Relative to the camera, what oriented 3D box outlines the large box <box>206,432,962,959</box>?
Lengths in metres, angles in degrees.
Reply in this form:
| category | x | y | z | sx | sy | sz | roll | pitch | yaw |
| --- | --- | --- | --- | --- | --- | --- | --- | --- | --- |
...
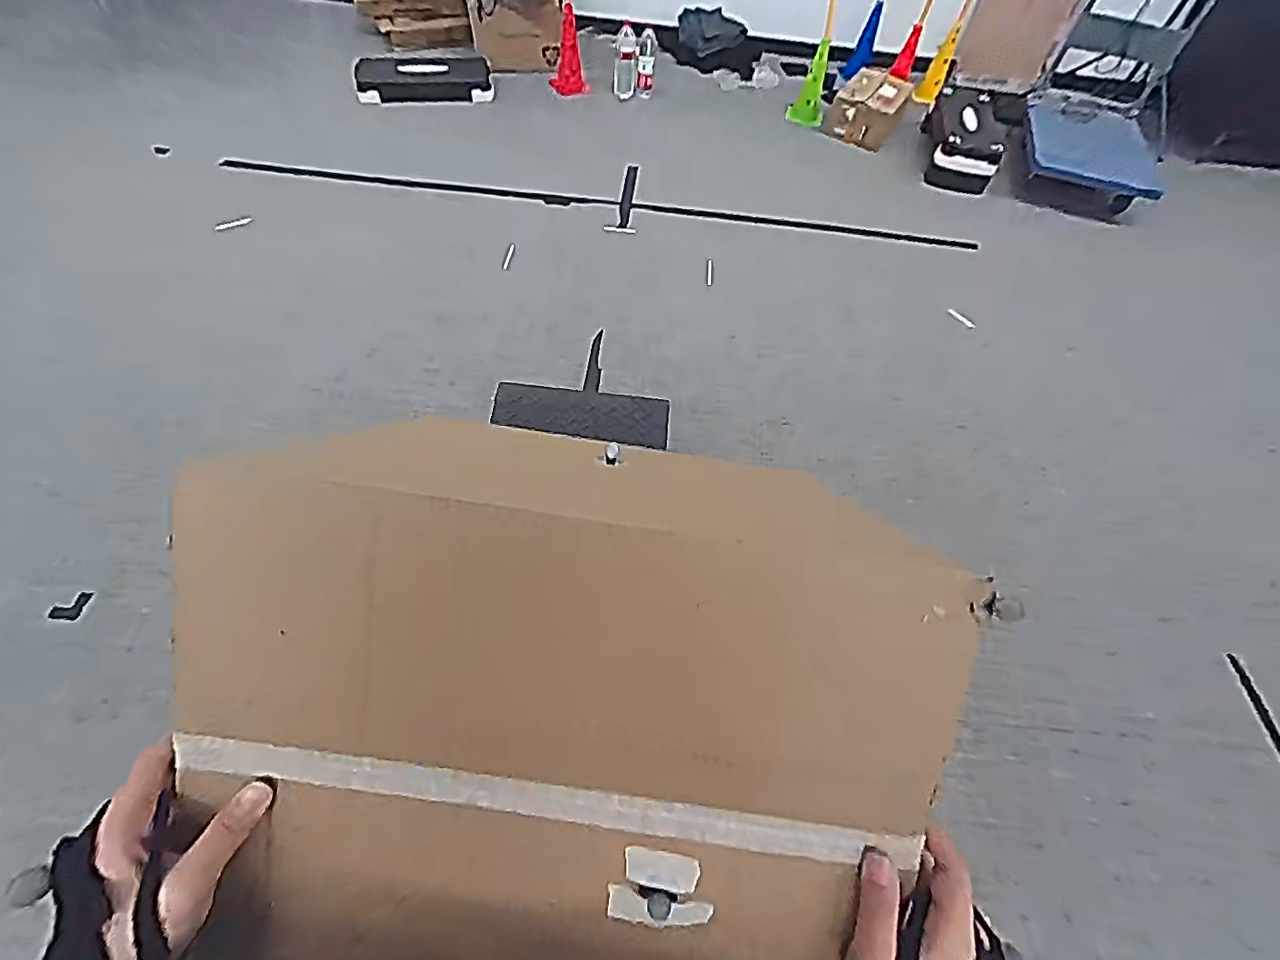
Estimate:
| category | x | y | z | sx | sy | sz | roll | pitch | yaw |
| --- | --- | --- | --- | --- | --- | --- | --- | --- | --- |
| large box | -0.045 | 0.144 | 0.453 | 0.408 | 0.320 | 0.320 | 8 | 102 | -1 |
